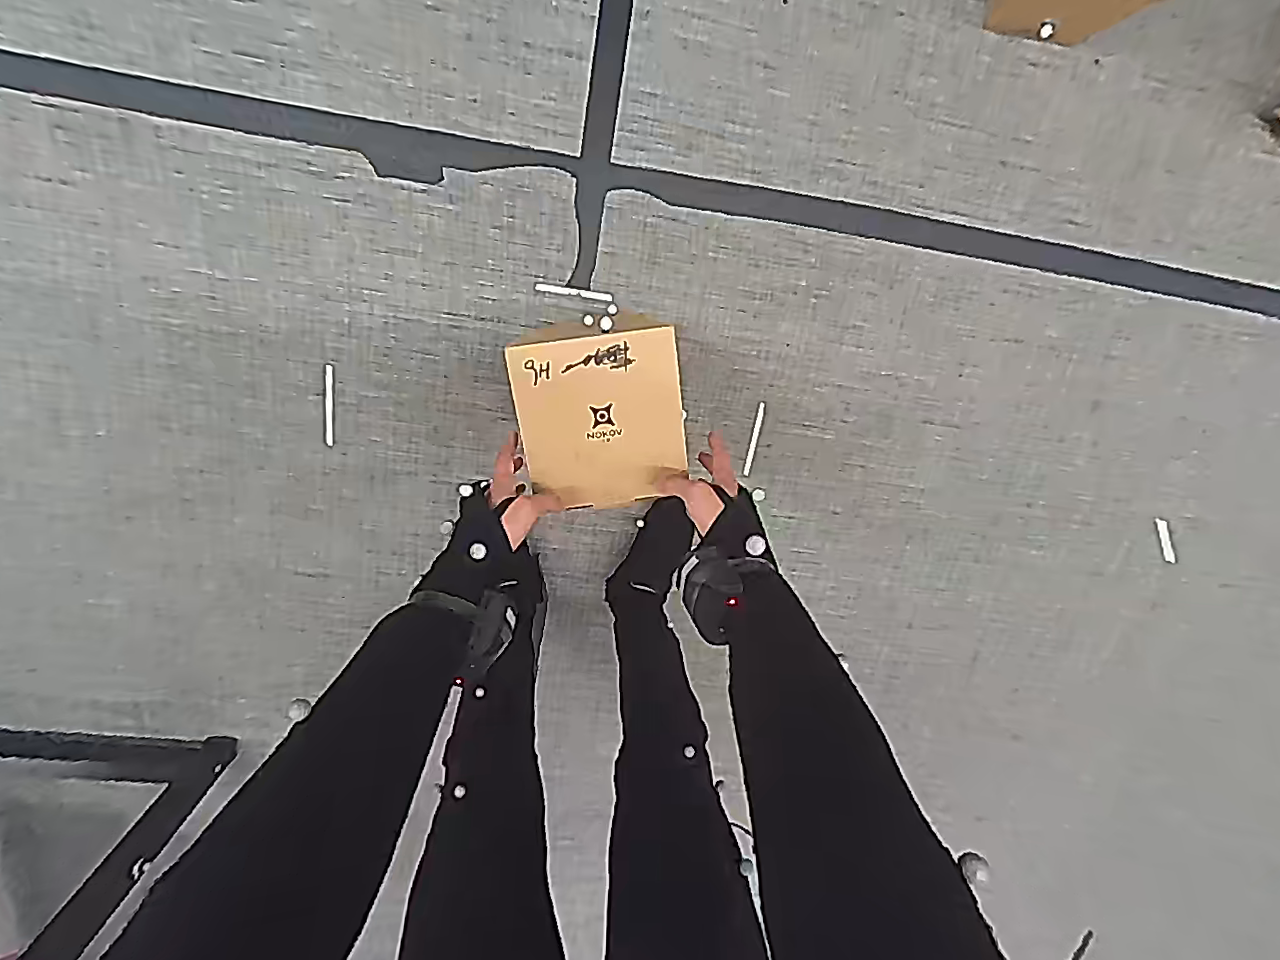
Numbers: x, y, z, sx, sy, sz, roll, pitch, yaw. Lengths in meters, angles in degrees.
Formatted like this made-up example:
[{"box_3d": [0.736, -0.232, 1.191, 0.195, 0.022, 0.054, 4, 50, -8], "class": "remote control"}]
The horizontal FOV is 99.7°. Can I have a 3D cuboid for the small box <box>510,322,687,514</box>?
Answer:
[{"box_3d": [-0.043, -0.081, 0.625, 0.168, 0.176, 0.179, -8, 110, -3], "class": "small box"}]
